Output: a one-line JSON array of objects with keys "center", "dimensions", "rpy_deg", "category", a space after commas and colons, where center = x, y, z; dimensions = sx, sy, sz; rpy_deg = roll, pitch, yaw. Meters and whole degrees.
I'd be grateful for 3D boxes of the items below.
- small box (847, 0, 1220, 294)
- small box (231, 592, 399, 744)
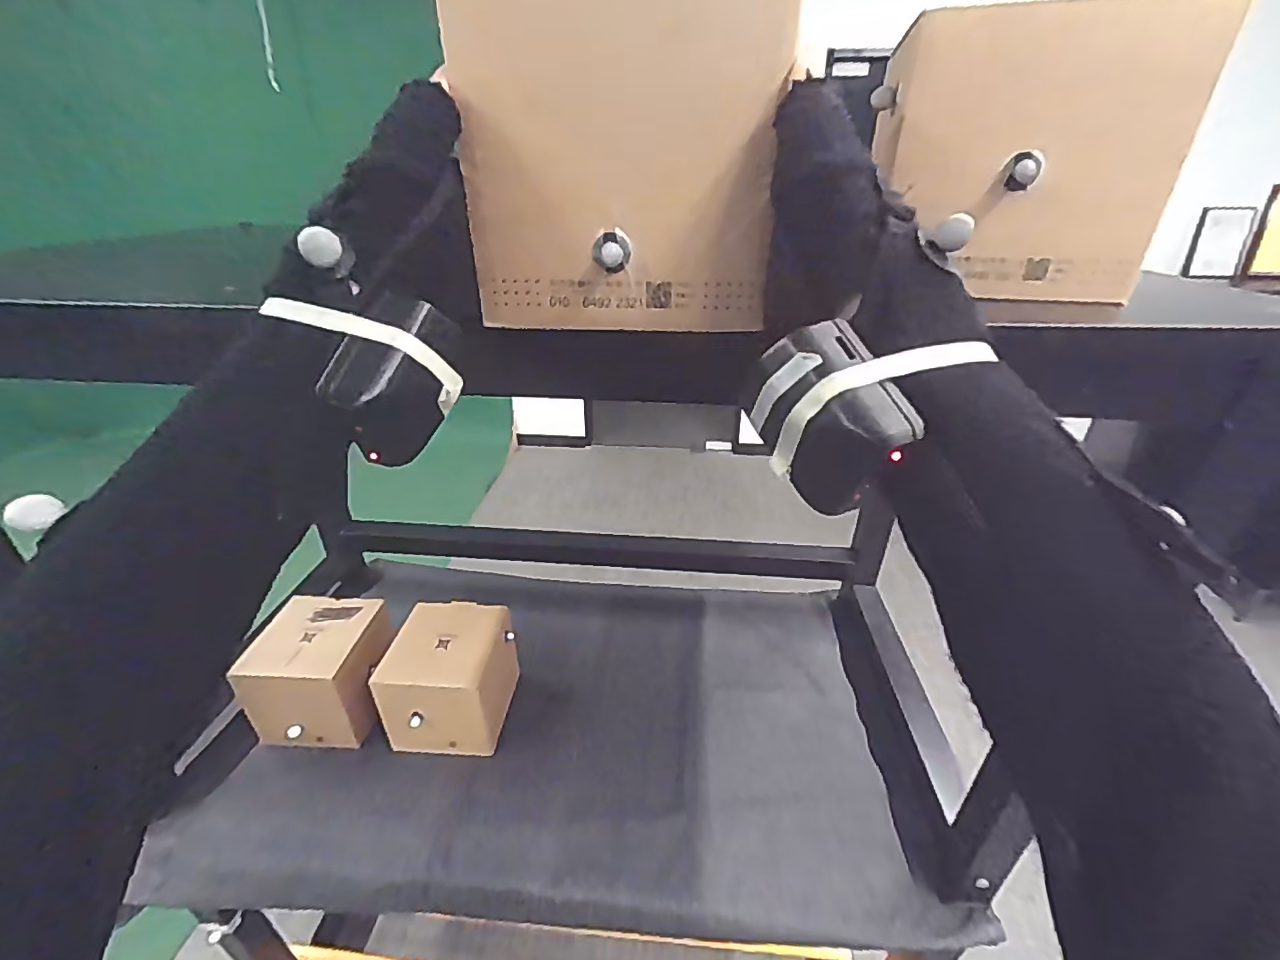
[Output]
[{"center": [0.260, -0.244, 0.412], "dimensions": [0.168, 0.176, 0.179], "rpy_deg": [8, 30, 14], "category": "small box"}, {"center": [-0.531, 0.313, 0.917], "dimensions": [0.168, 0.176, 0.179], "rpy_deg": [1, 30, 3], "category": "small box"}]
